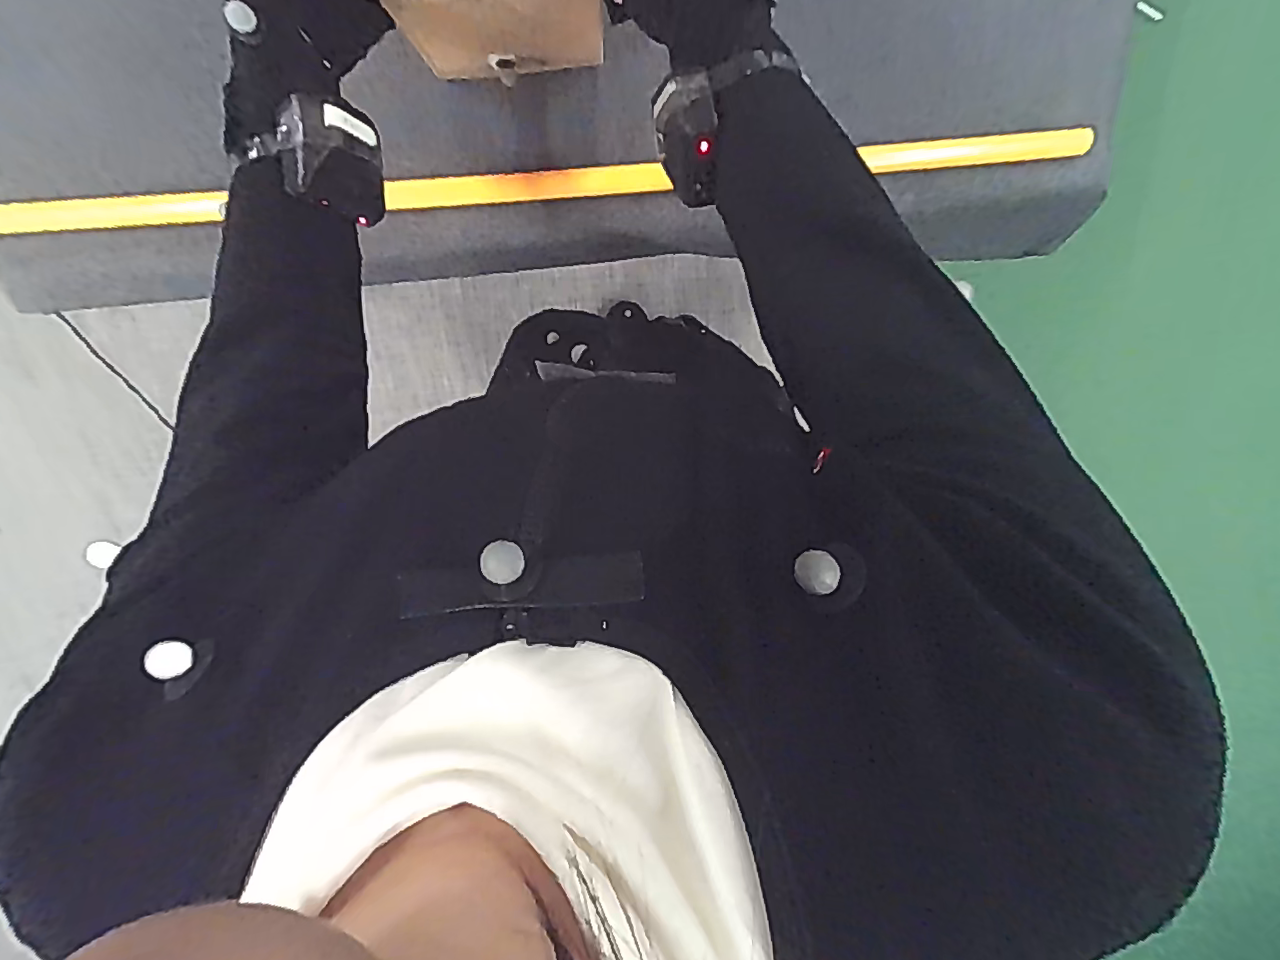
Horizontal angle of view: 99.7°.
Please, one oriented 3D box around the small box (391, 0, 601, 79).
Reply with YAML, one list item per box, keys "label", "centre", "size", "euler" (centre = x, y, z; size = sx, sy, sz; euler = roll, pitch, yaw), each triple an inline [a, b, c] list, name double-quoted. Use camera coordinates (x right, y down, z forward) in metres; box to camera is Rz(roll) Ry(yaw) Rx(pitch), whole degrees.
- label: "small box"
  centre: [-0.125, -0.470, 0.445]
  size: [0.168, 0.176, 0.179]
  euler: [-8, 111, 0]
